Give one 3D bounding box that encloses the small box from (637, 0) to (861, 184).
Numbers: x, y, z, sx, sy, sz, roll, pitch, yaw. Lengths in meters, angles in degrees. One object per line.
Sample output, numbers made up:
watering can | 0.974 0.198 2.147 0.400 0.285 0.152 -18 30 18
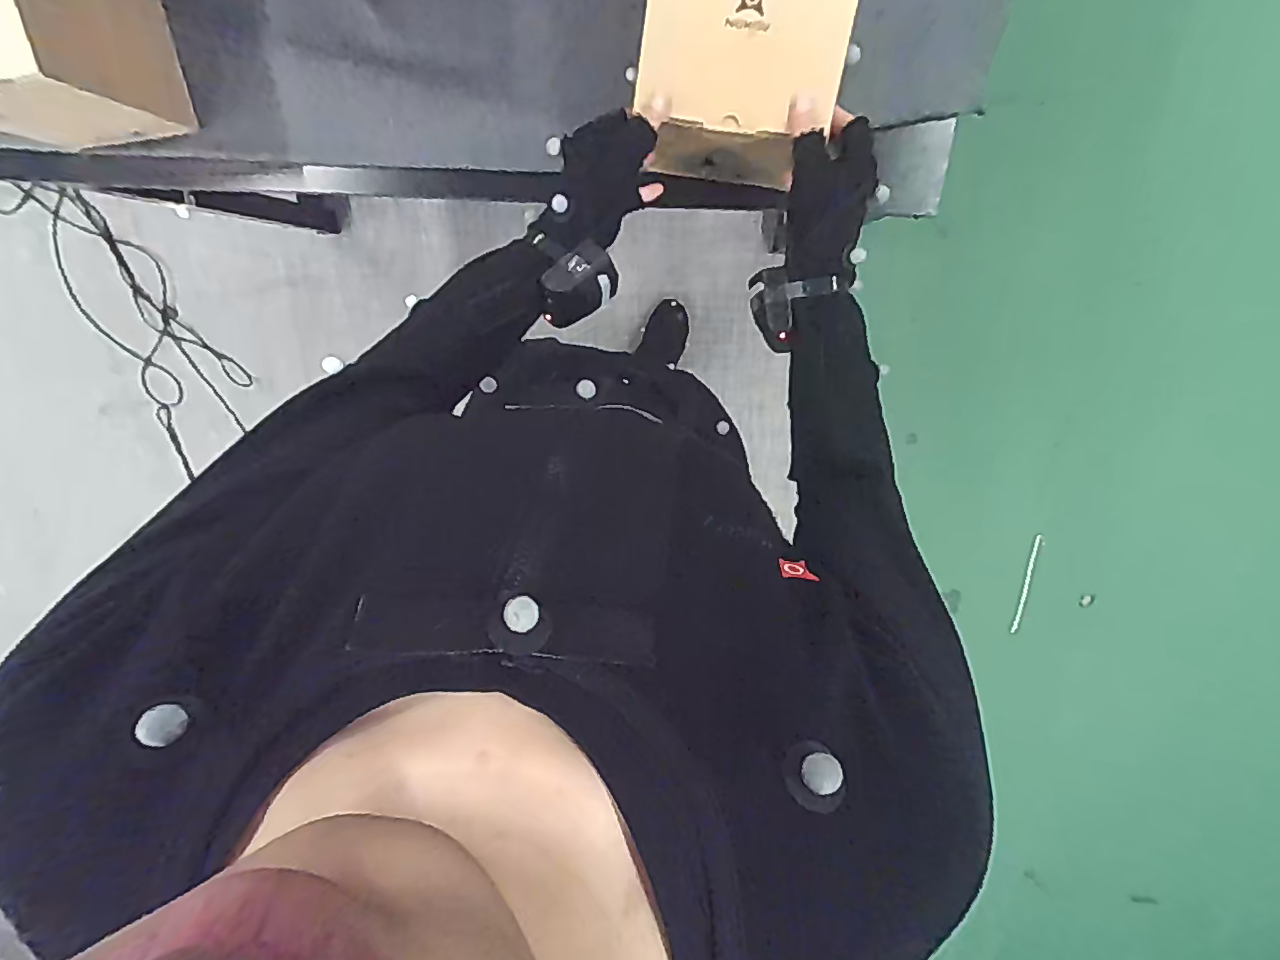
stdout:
small box | 0.095 -0.399 0.500 0.168 0.176 0.179 10 108 2
